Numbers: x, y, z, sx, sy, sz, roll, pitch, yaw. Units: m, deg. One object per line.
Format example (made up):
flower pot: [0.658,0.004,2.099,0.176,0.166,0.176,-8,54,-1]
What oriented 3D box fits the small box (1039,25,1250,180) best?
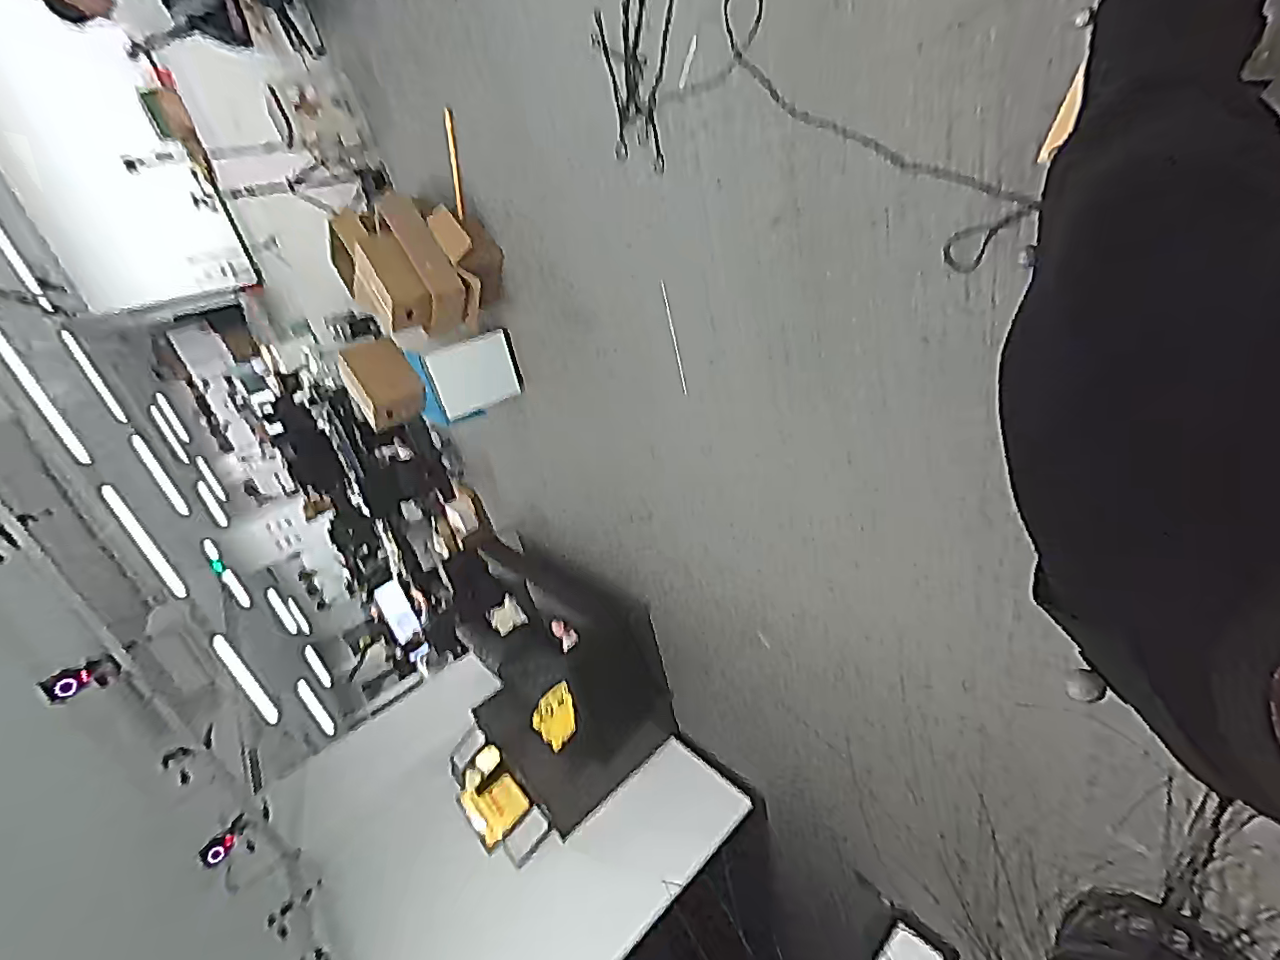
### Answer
small box: [0.788,-0.597,0.850,0.168,0.176,0.179,38,143,33]

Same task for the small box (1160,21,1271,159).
small box: [0.913,-0.666,0.925,0.168,0.176,0.179,34,141,37]
